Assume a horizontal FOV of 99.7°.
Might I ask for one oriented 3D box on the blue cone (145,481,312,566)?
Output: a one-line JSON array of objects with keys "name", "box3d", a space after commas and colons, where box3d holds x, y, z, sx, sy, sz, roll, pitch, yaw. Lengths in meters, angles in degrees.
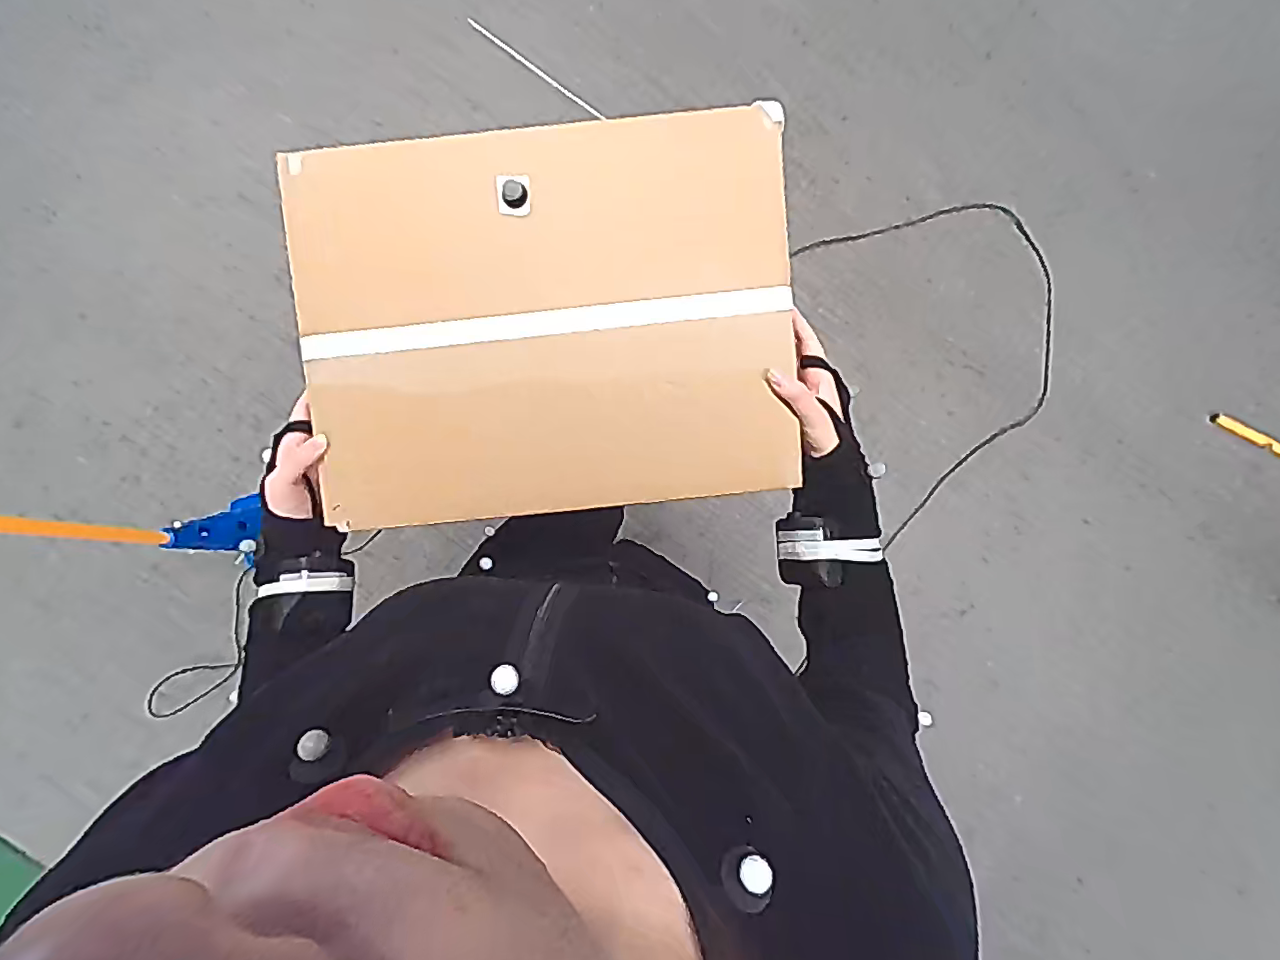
[{"name": "blue cone", "box3d": [-0.976, 0.118, 1.268, 0.193, 0.380, 0.192, -20, 90, -1]}]
